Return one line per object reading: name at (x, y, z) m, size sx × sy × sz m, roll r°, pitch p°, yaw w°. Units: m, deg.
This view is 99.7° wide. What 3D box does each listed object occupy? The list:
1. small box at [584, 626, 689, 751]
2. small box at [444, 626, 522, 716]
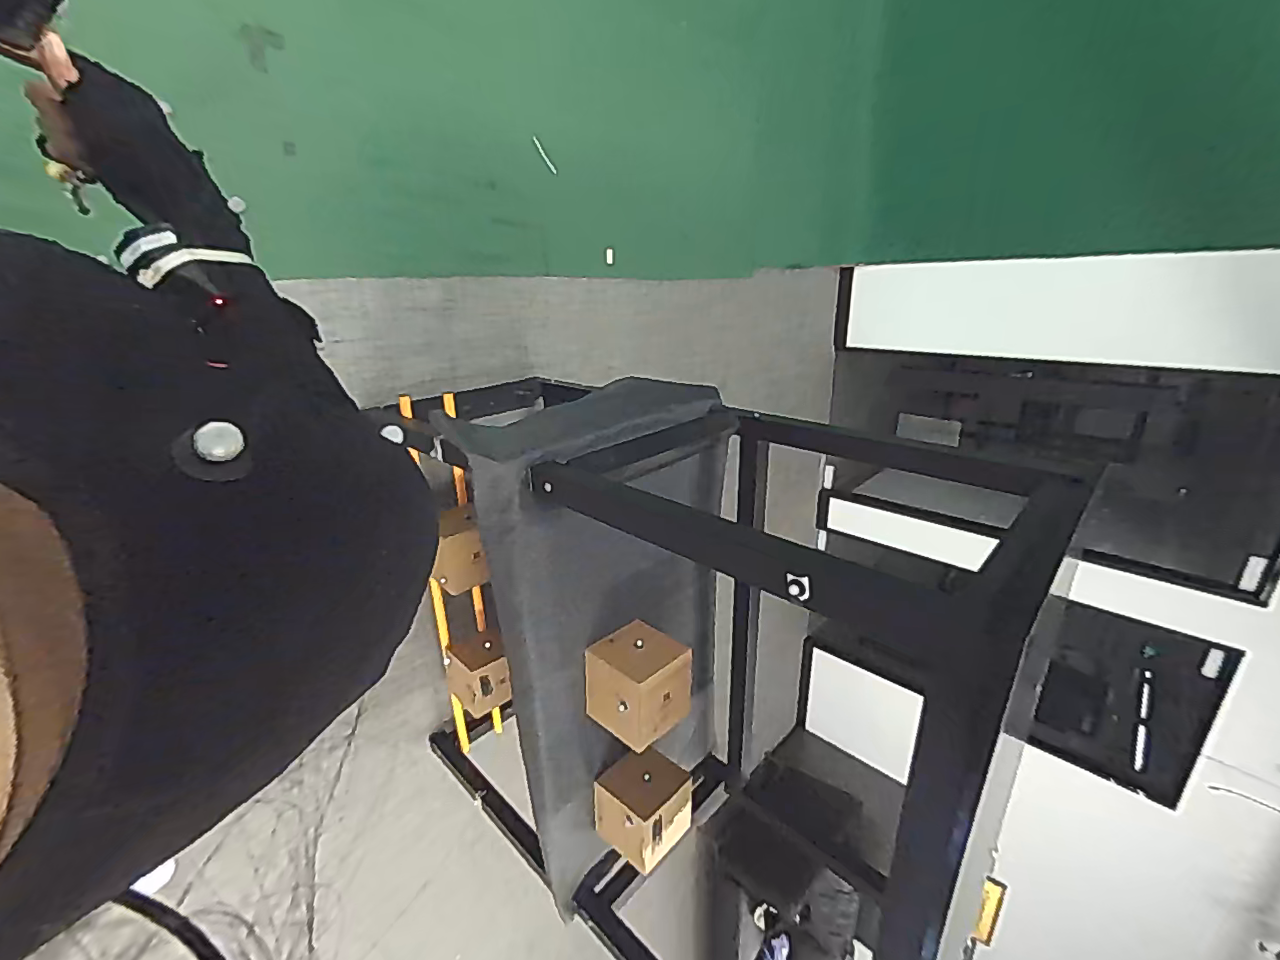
small box at (-0.010, 0.444, 1.190) m, size 0.168 × 0.176 × 0.179 m, roll -17°, pitch 116°, yaw -44°
small box at (-0.487, 0.581, 1.665) m, size 0.179 × 0.176 × 0.168 m, roll -17°, pitch 116°, yaw -44°
